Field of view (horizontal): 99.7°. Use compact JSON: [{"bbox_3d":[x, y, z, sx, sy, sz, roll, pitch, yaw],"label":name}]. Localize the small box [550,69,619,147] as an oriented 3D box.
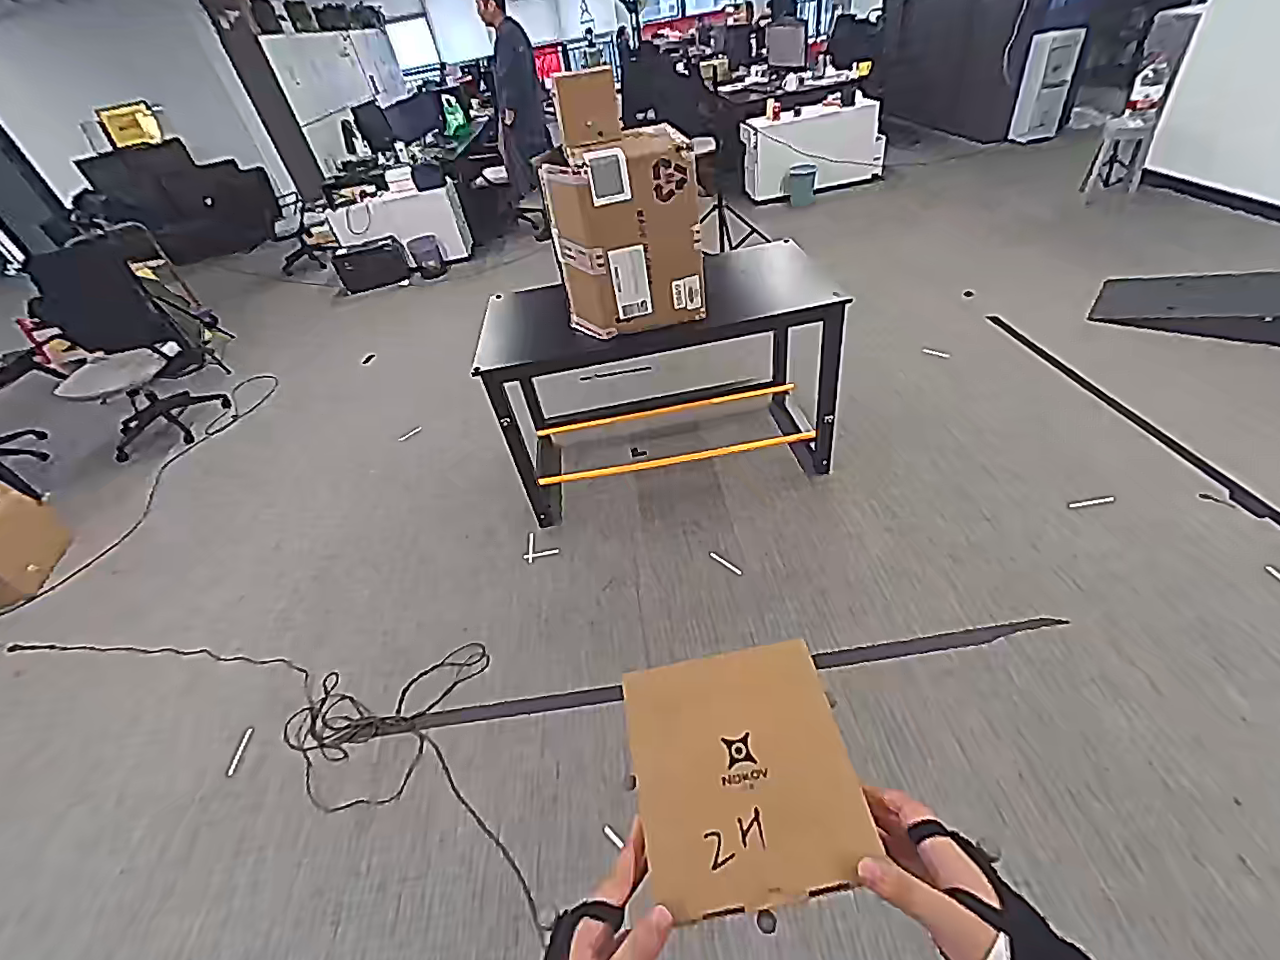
[{"bbox_3d":[-0.161,-1.082,1.574,0.168,0.176,0.179,-13,39,-4],"label":"small box"}]
